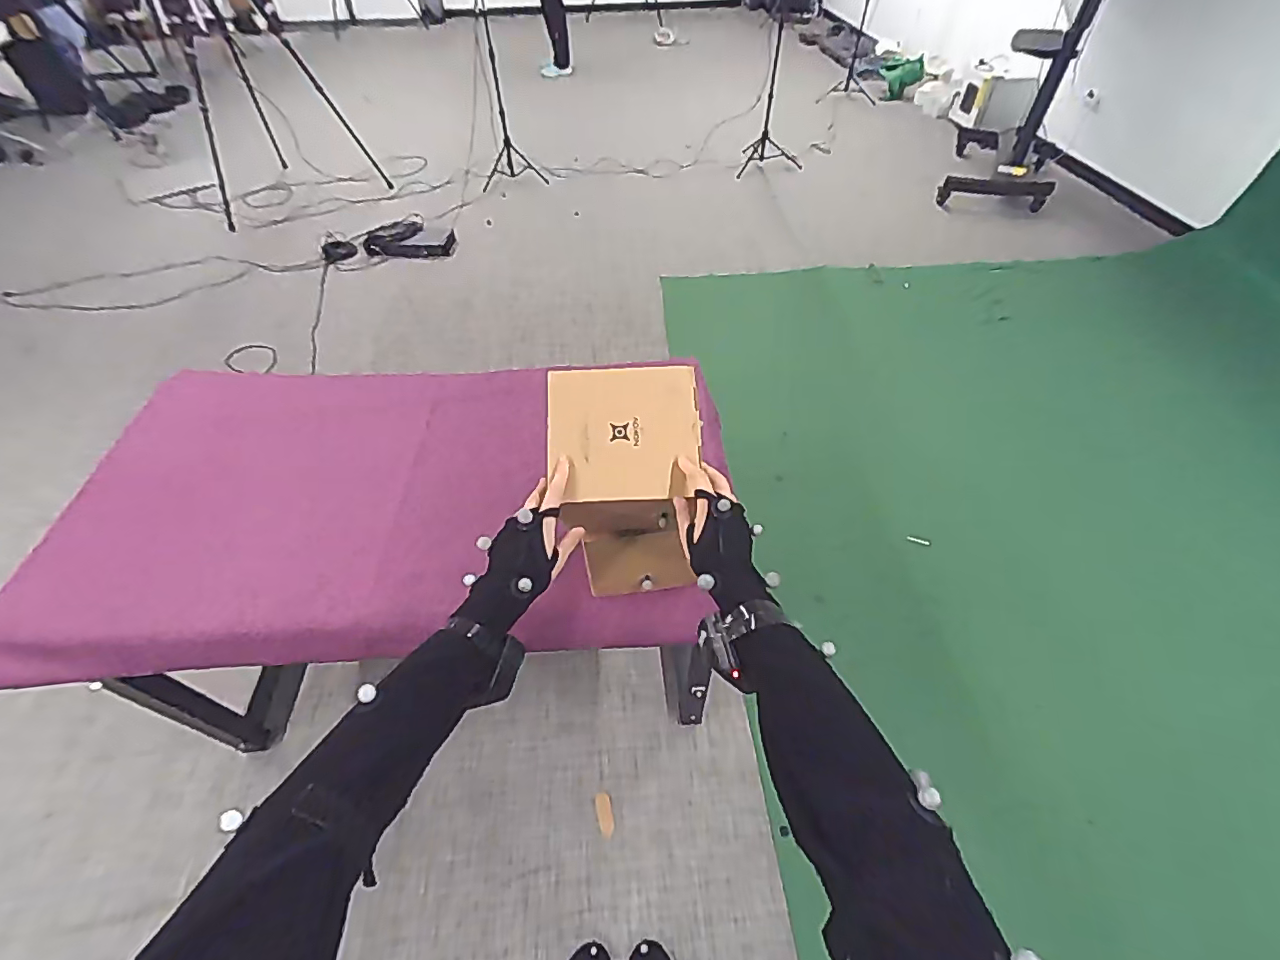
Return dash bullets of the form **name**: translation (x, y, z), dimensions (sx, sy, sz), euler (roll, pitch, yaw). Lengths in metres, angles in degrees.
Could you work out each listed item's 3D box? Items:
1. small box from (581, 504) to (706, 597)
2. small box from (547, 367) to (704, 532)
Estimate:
- **small box**: translation (-0.003, 0.067, 0.857), dimensions (0.179, 0.176, 0.168), euler (-7, 50, -4)
- **small box**: translation (-0.017, -0.031, 0.694), dimensions (0.179, 0.176, 0.168), euler (-2, 72, 1)
